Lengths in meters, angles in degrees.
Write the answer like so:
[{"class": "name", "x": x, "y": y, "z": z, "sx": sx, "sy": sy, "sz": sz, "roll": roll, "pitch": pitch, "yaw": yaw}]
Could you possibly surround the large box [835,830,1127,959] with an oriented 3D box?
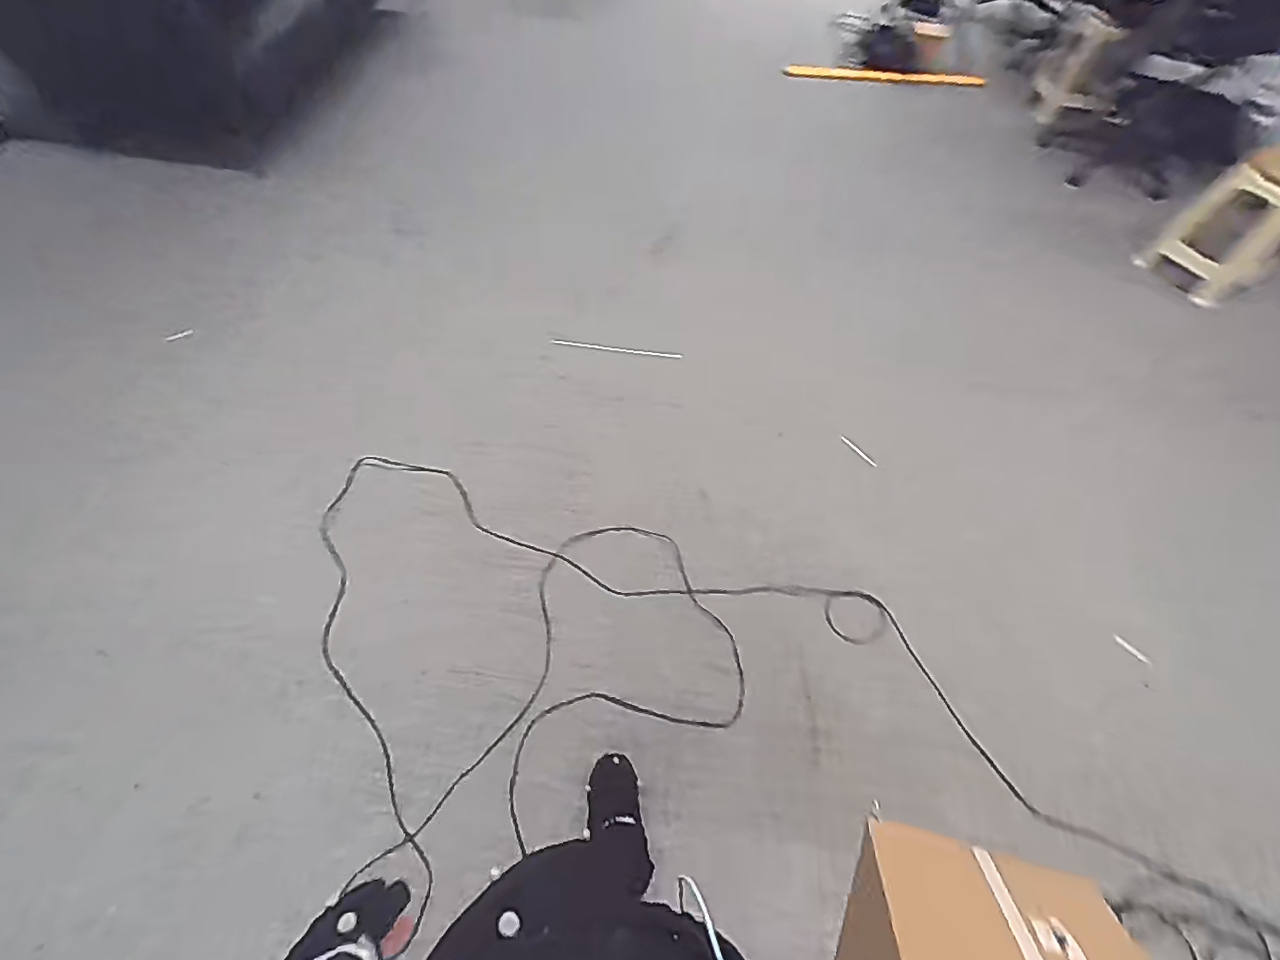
[{"class": "large box", "x": 0.422, "y": 0.730, "z": 0.632, "sx": 0.320, "sy": 0.408, "sz": 0.320, "roll": 13, "pitch": 95, "yaw": 13}]
